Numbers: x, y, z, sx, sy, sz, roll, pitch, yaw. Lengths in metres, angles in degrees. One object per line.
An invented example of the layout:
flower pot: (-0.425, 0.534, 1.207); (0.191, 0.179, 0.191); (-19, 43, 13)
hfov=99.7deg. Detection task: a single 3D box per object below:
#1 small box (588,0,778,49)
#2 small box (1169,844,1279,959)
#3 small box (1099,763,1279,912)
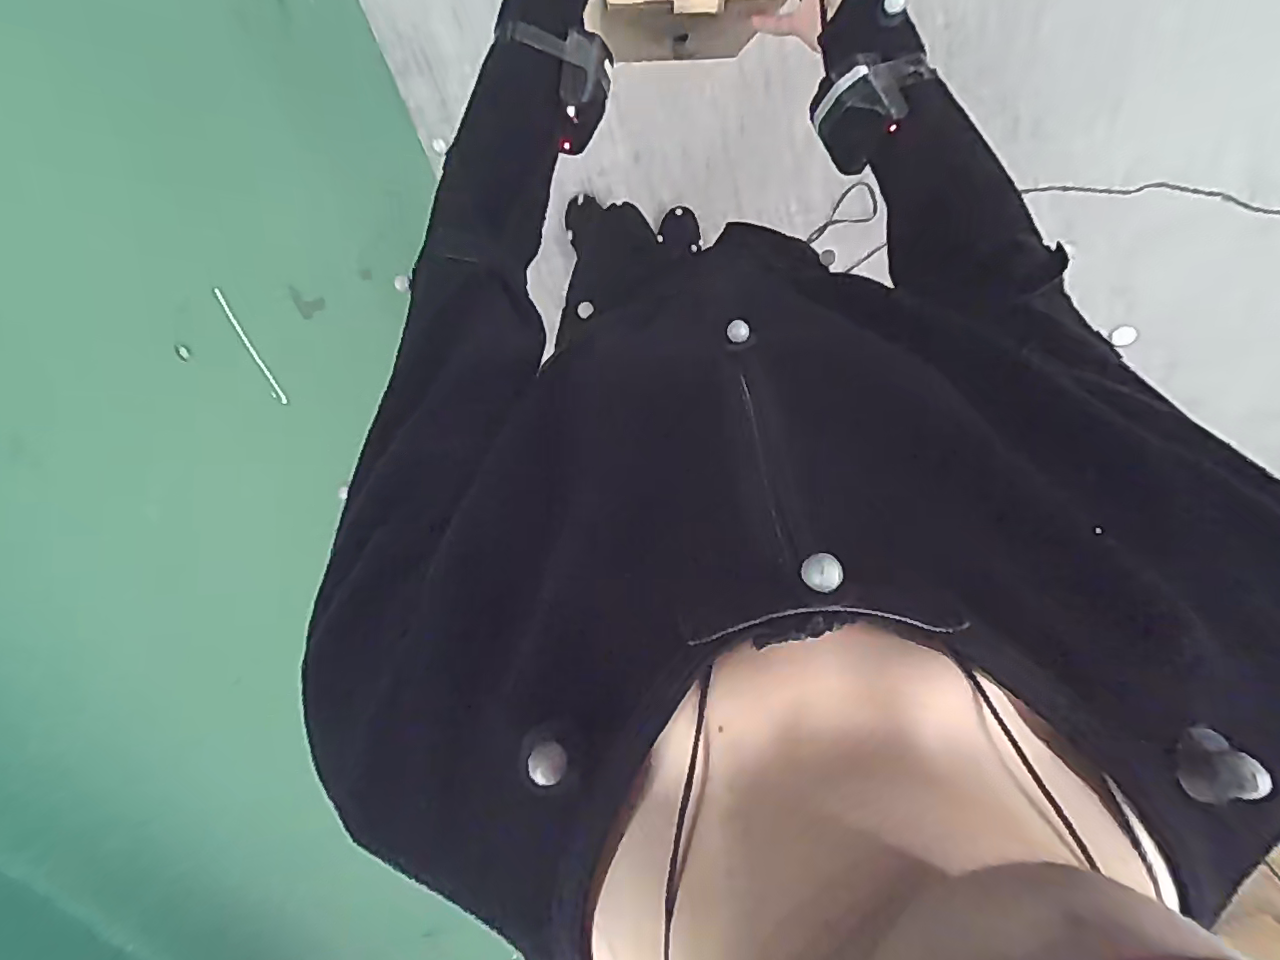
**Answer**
small box: (0.033, -0.522, 0.496); (0.168, 0.176, 0.179); (-6, 115, -5)
small box: (1.031, 0.747, 0.892); (0.179, 0.176, 0.168); (-21, 113, 9)
small box: (1.037, 0.678, 1.038); (0.179, 0.176, 0.168); (-19, 114, 10)
